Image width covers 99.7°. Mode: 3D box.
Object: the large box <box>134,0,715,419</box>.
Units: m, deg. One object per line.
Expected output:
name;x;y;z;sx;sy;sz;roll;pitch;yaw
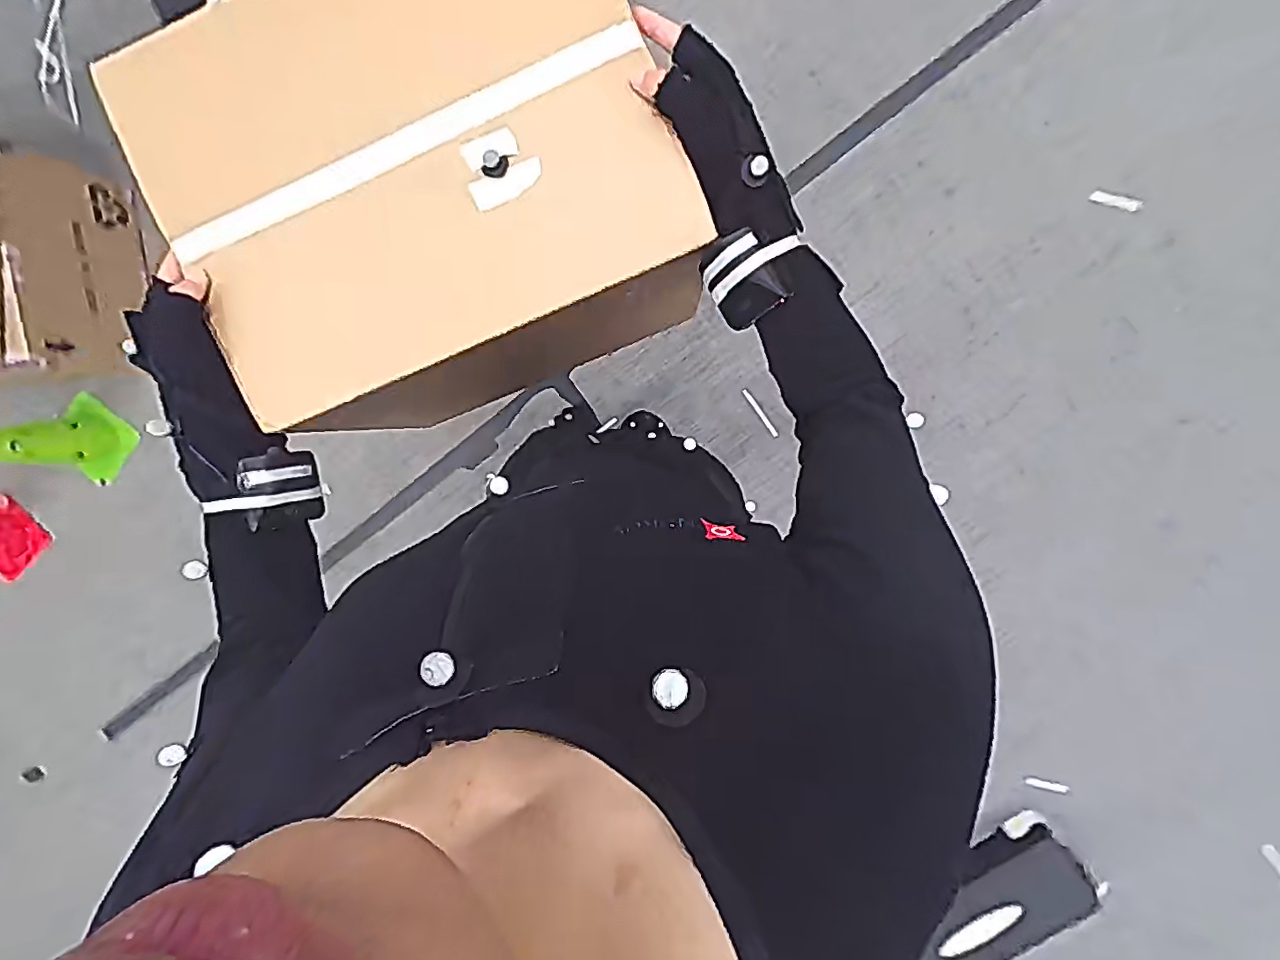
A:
large box;-0.170;-0.282;0.580;0.408;0.320;0.320;-21;95;4
